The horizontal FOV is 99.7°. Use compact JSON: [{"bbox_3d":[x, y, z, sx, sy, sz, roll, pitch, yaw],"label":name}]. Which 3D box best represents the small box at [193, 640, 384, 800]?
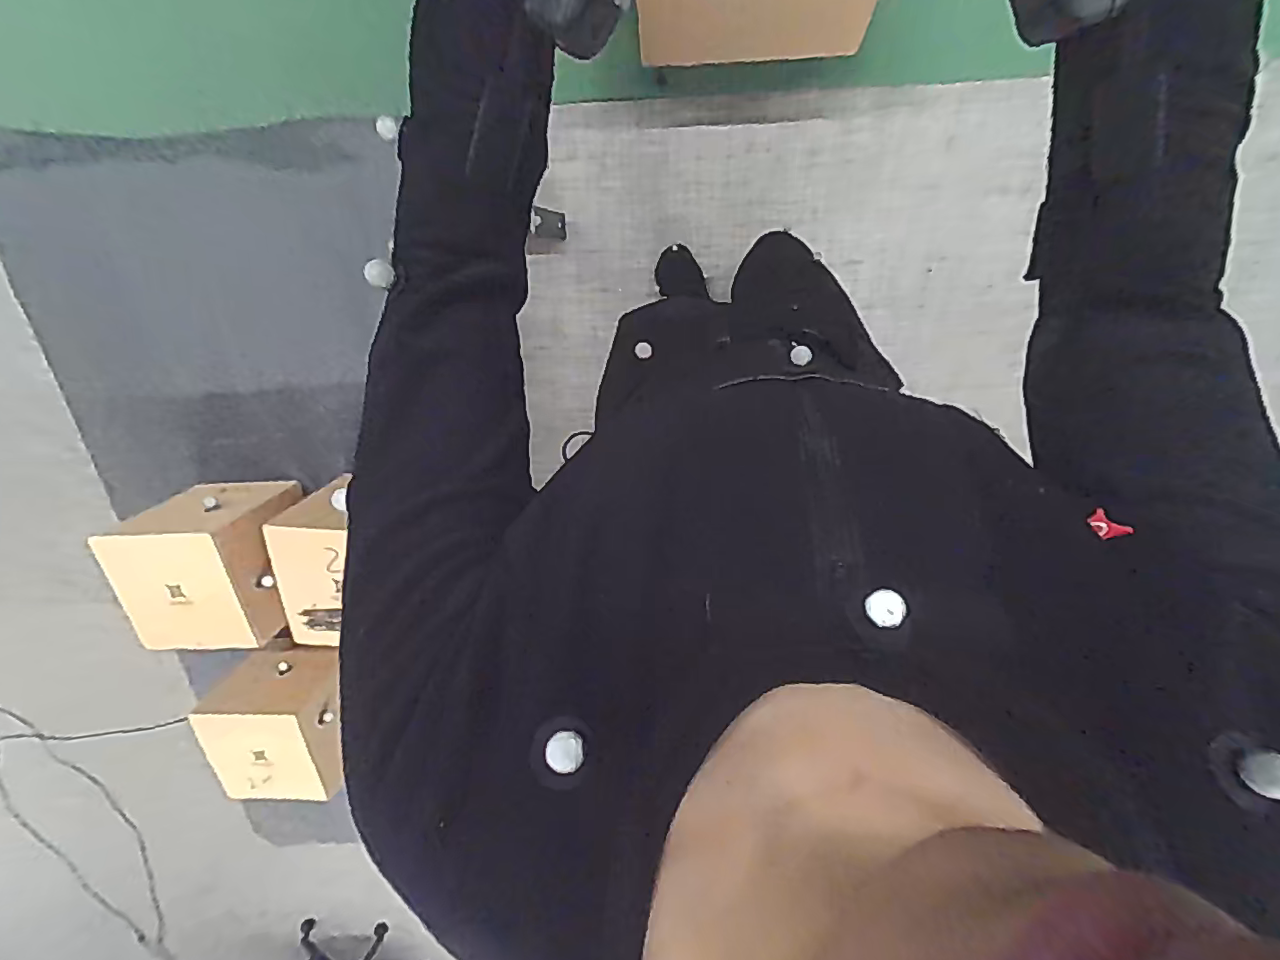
[{"bbox_3d":[-0.542,0.374,0.863,0.168,0.176,0.179,-1,113,6],"label":"small box"}]

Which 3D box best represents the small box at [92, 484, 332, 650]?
[{"bbox_3d":[-0.574,0.111,0.755,0.168,0.176,0.179,-3,114,6],"label":"small box"}]
